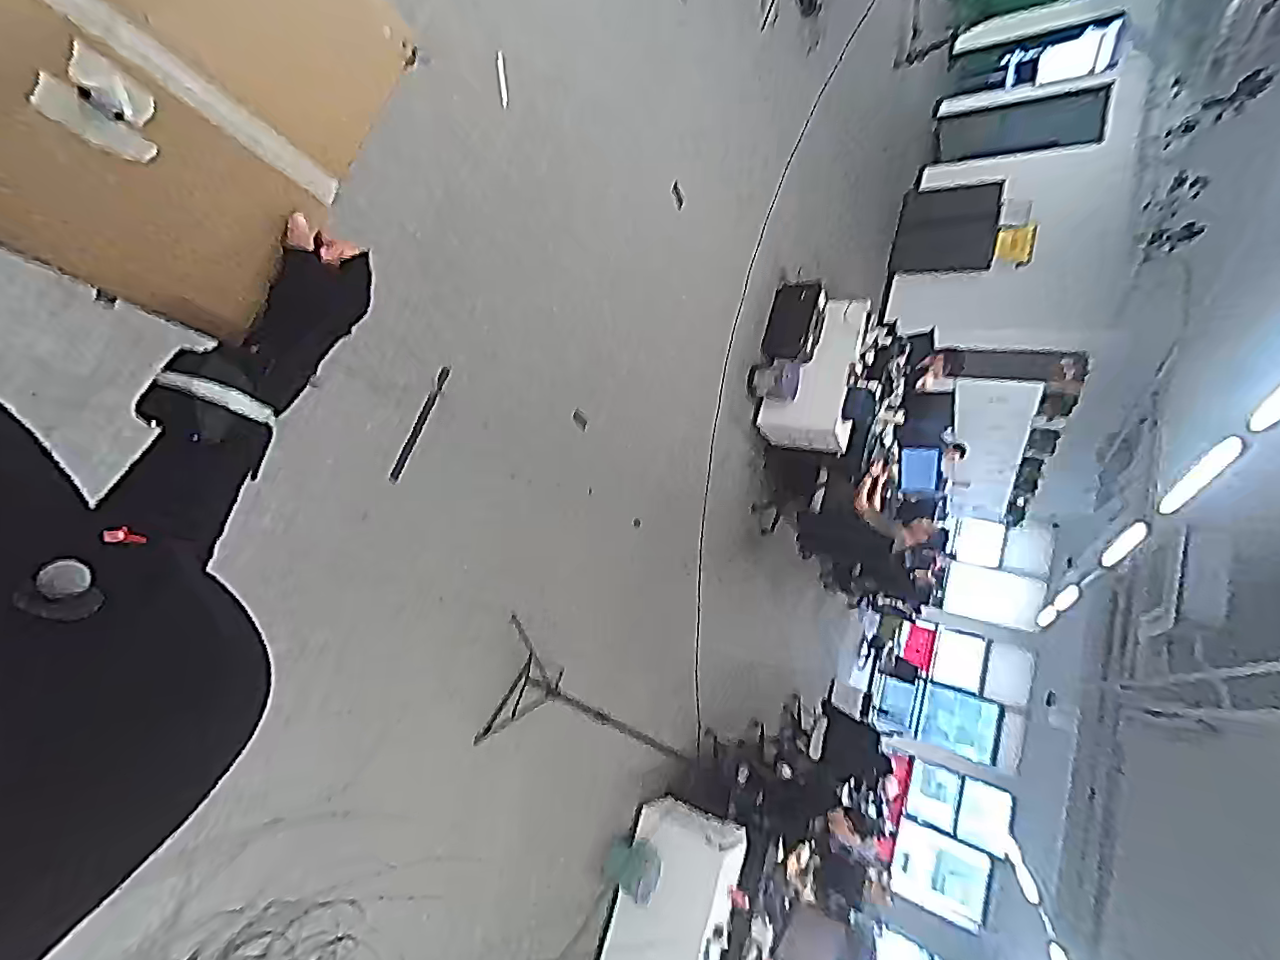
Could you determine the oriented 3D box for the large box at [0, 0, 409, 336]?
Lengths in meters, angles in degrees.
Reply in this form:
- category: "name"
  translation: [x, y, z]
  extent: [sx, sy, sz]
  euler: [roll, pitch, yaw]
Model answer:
- category: "large box"
  translation: [-0.482, -0.367, 0.399]
  extent: [0.320, 0.320, 0.408]
  euler: [-61, 146, -1]
